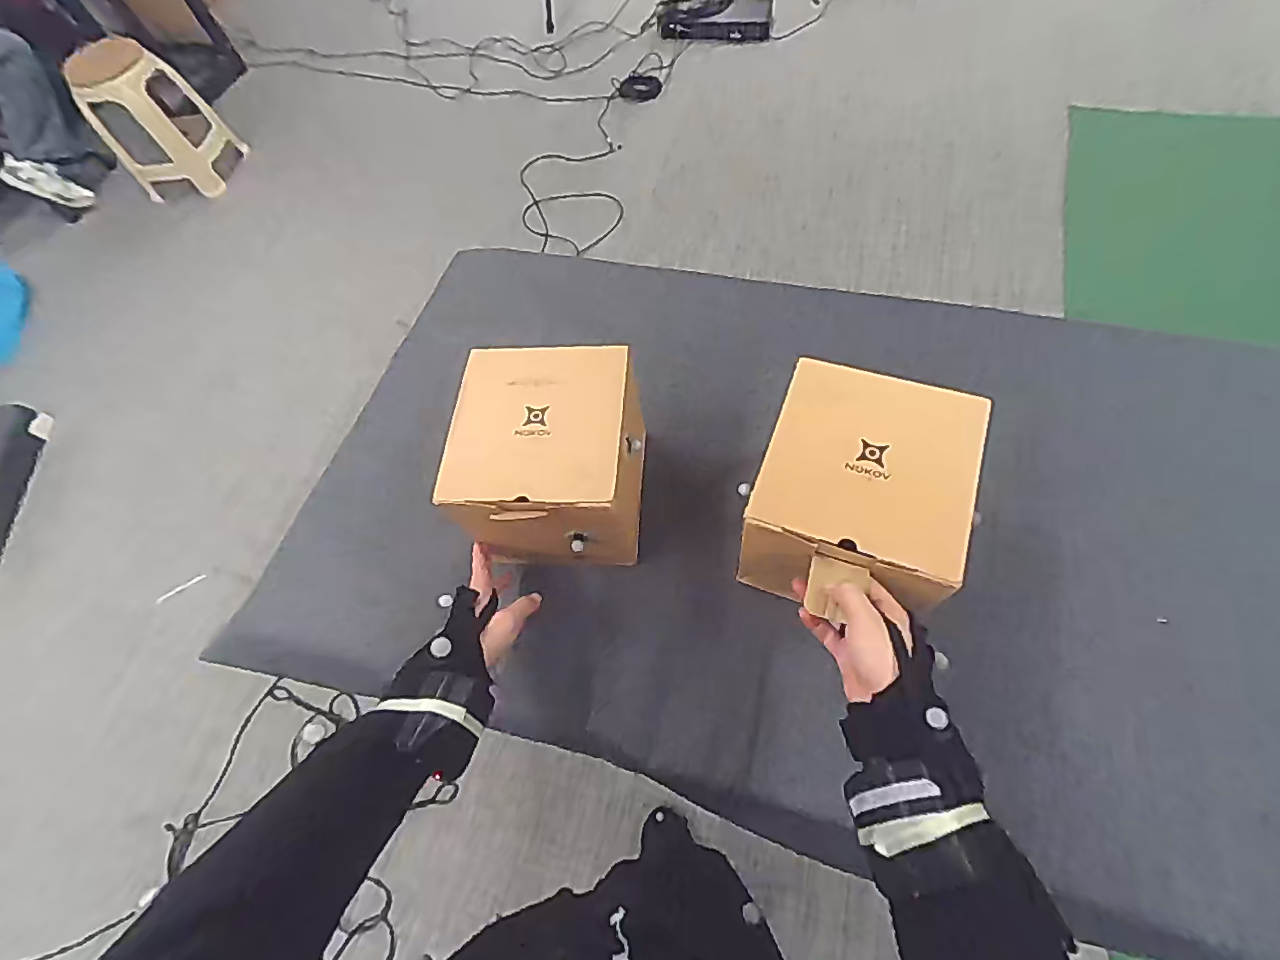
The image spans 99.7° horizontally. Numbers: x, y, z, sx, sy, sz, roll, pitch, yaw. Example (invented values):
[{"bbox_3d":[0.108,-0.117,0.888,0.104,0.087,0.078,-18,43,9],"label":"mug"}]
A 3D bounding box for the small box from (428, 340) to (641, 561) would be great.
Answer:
[{"bbox_3d":[-0.091,-0.023,0.566,0.168,0.176,0.179,1,61,6],"label":"small box"}]

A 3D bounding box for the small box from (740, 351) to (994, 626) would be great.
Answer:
[{"bbox_3d":[0.198,0.014,0.510,0.168,0.176,0.179,18,66,15],"label":"small box"}]
